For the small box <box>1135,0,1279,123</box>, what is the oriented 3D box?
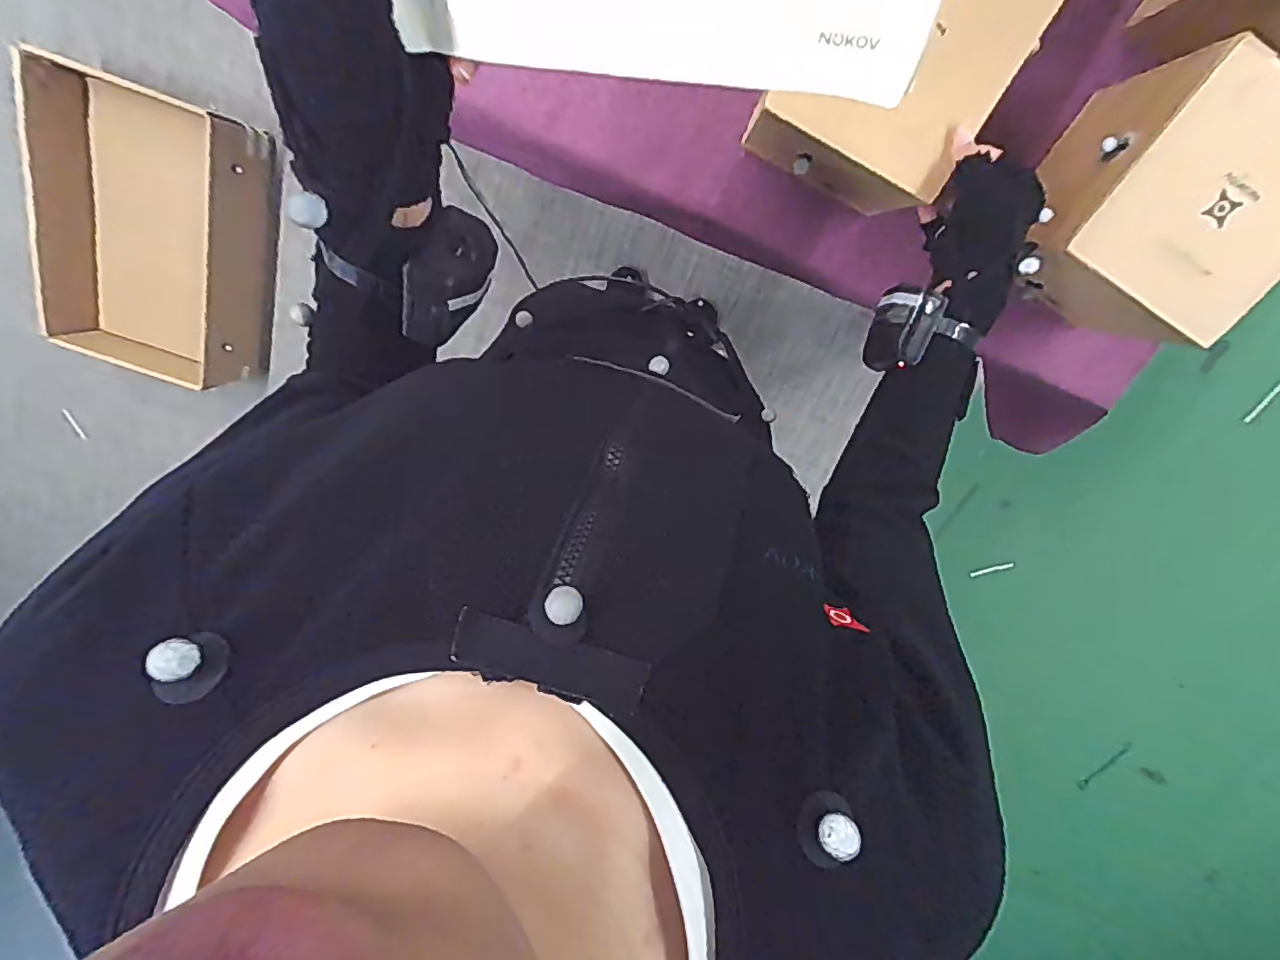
[{"bbox_3d":[0.575,-0.432,0.431,0.168,0.176,0.179,28,111,-7],"label":"small box"}]
